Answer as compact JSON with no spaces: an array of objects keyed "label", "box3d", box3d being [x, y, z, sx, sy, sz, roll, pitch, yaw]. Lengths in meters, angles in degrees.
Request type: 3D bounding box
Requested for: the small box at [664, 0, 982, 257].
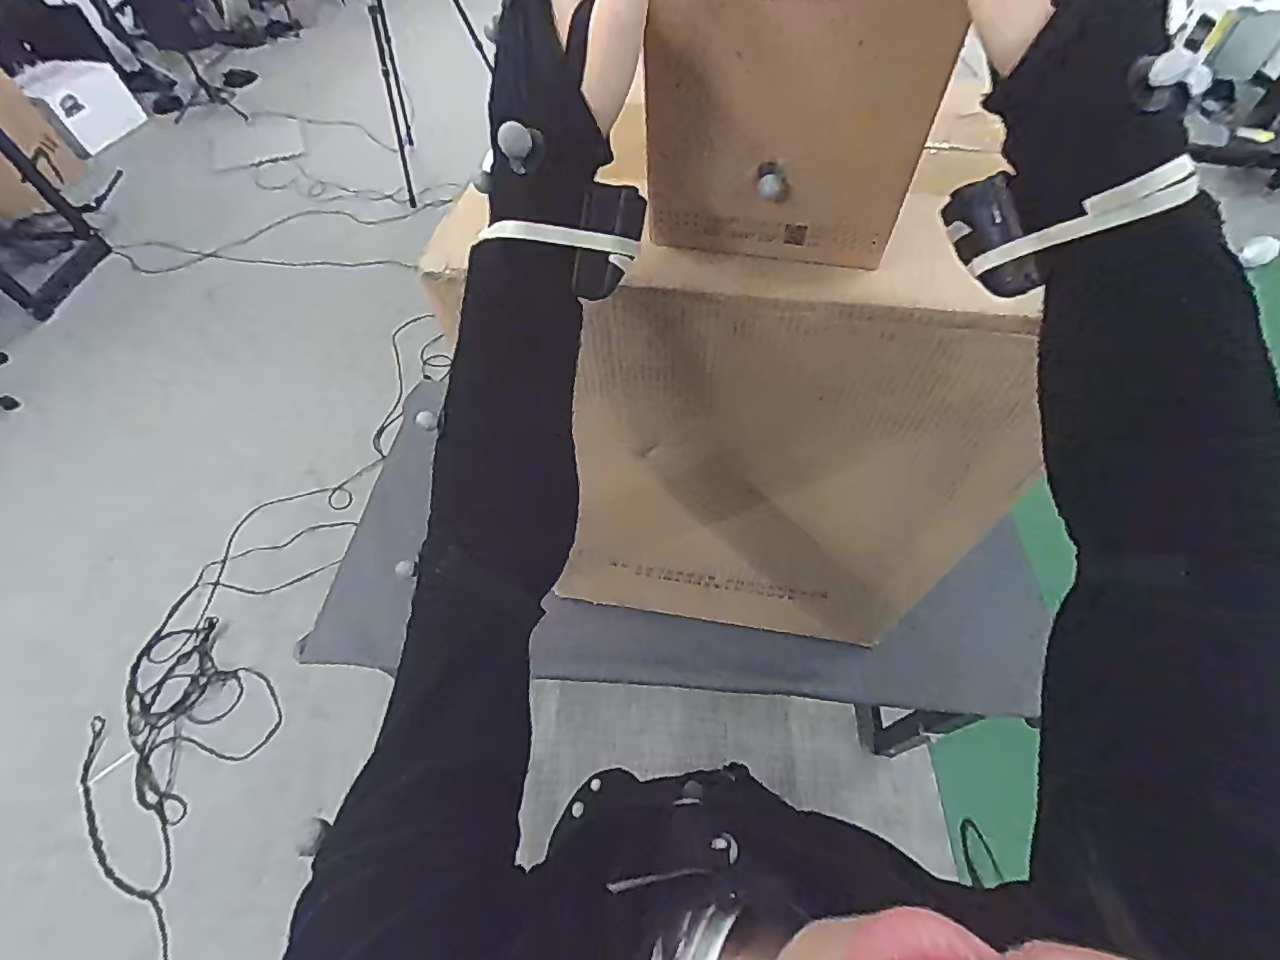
[{"label":"small box","box3d":[0.111,-0.286,0.371,0.168,0.176,0.179,11,59,10]}]
